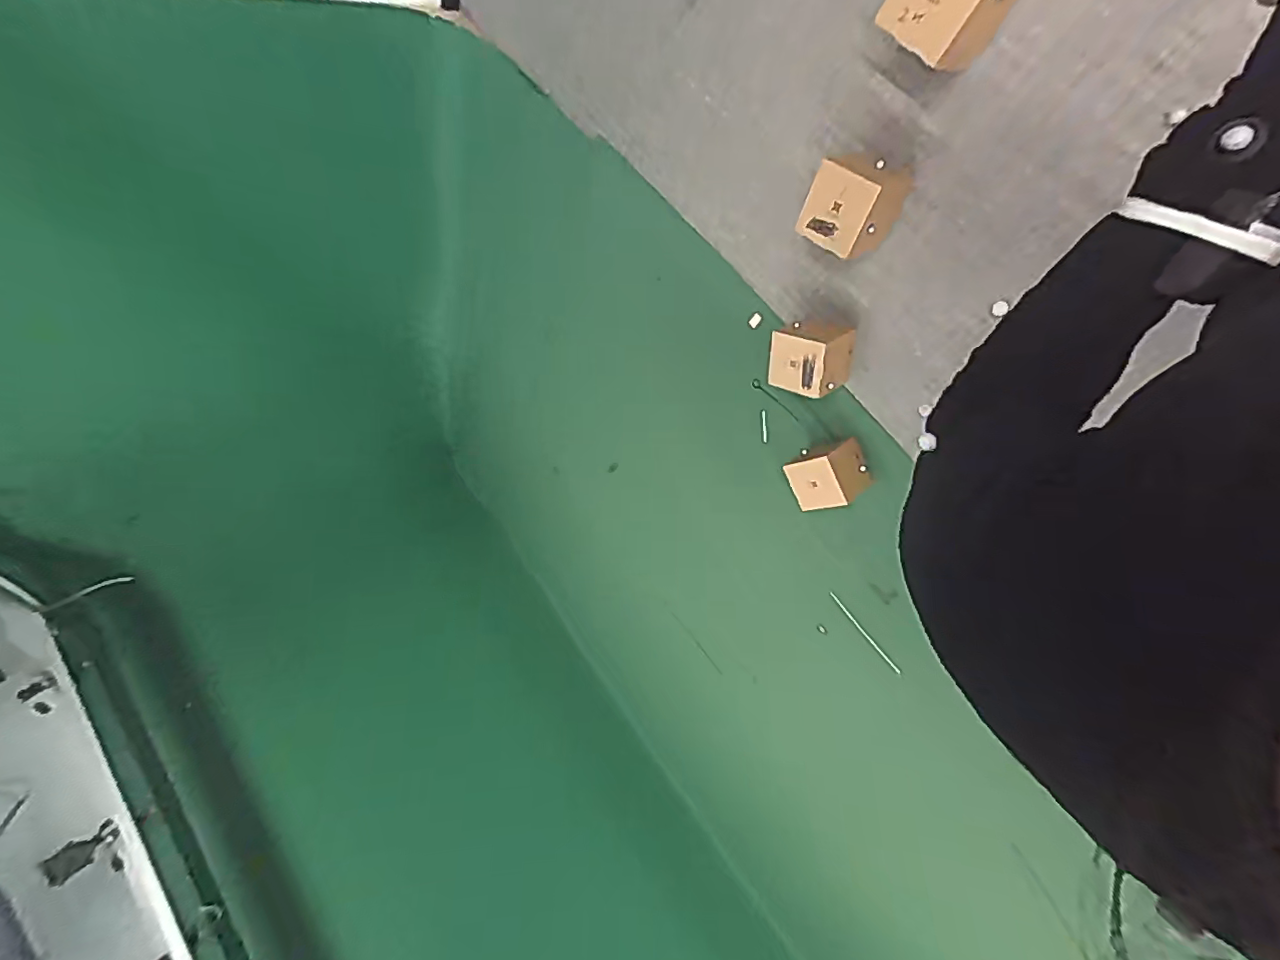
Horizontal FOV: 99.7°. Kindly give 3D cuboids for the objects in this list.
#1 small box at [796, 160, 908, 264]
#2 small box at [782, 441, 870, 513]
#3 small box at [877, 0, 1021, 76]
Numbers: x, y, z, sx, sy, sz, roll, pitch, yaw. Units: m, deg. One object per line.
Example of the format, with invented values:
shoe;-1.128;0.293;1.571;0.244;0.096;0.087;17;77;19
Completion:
small box;0.528;-0.670;1.345;0.168;0.176;0.179;44;141;23
small box;0.596;-0.008;1.727;0.179;0.176;0.168;-16;101;55
small box;0.613;-0.930;1.056;0.168;0.176;0.179;52;144;14
